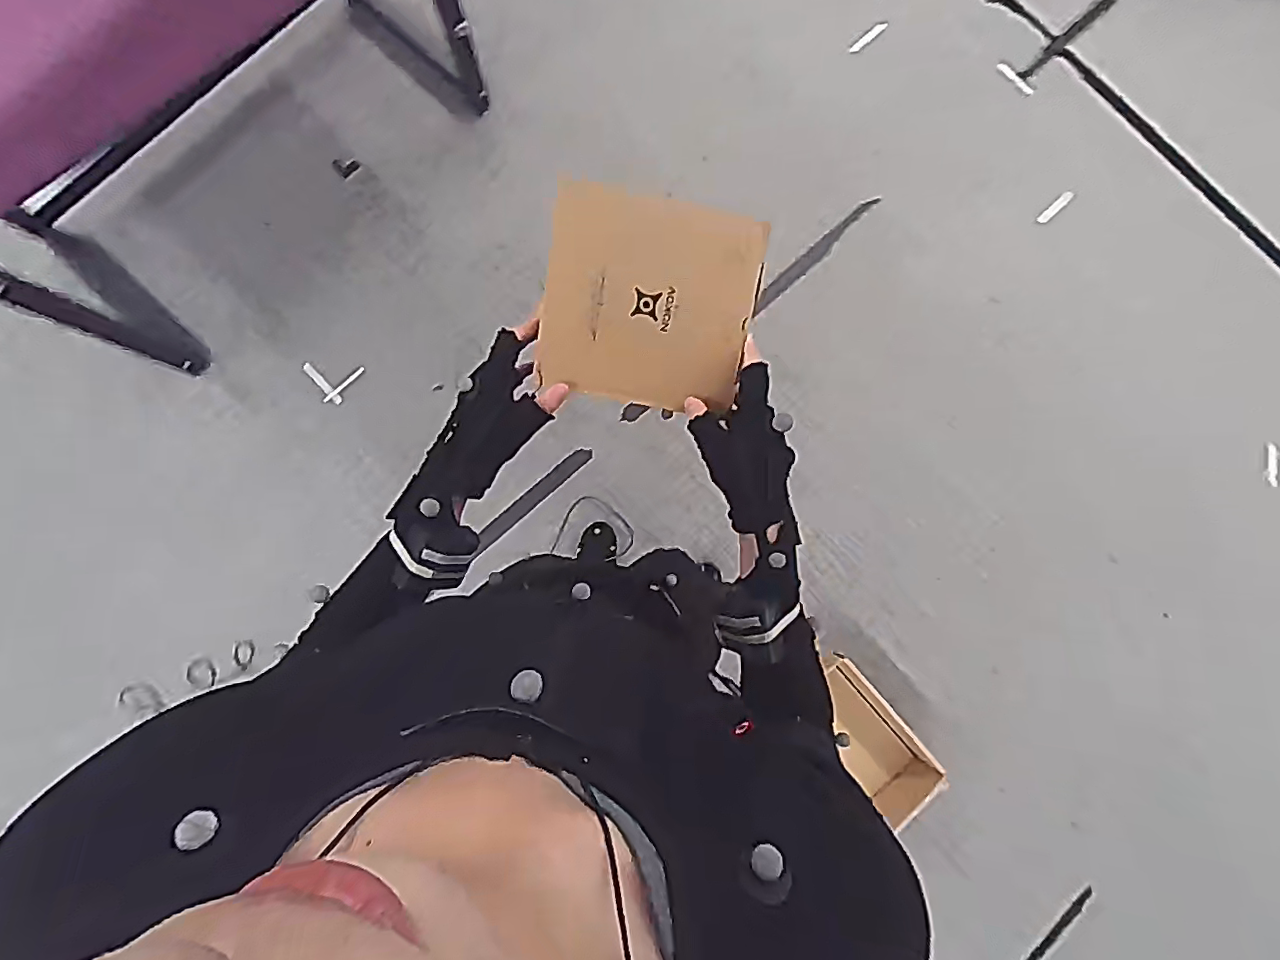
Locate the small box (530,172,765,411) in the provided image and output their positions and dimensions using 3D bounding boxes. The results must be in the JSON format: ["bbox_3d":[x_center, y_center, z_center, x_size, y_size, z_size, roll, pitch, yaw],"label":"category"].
[{"bbox_3d":[-0.002,-0.167,0.519,0.179,0.176,0.168,7,102,-6],"label":"small box"}]
